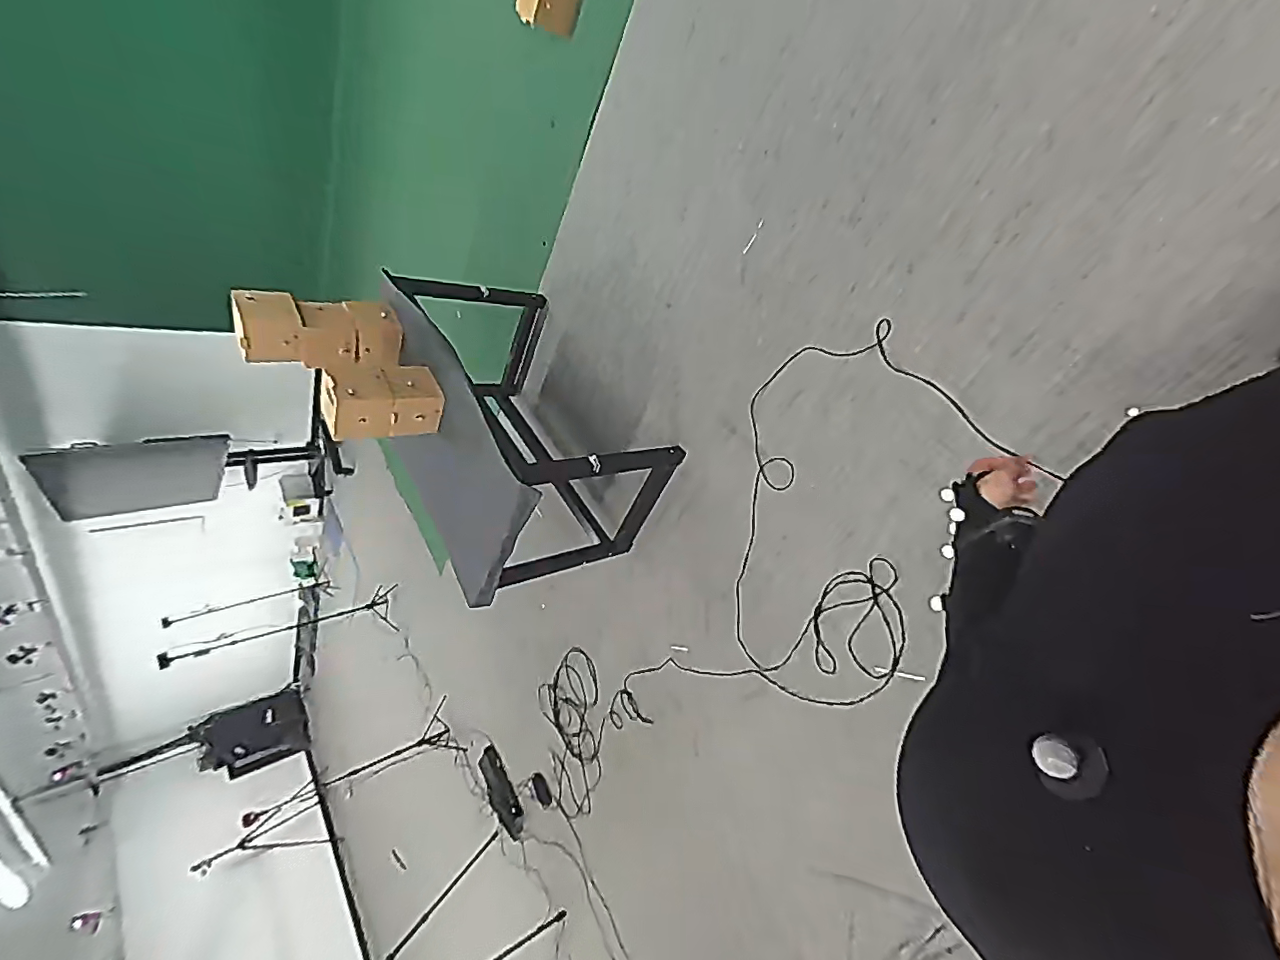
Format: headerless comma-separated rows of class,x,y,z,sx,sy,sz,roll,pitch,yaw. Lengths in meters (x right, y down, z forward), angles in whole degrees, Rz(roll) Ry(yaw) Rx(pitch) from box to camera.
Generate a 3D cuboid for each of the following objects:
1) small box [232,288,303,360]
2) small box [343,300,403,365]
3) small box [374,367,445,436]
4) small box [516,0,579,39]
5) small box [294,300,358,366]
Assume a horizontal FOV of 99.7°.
small box,-1.250,-0.521,1.817,0.179,0.176,0.168,53,135,26
small box,-1.015,-0.555,2.043,0.168,0.176,0.179,55,133,24
small box,-0.790,-0.276,1.856,0.179,0.176,0.168,52,132,26
small box,-0.371,-1.945,2.188,0.168,0.176,0.179,54,132,25
small box,-1.129,-0.522,1.932,0.179,0.176,0.168,48,132,28
